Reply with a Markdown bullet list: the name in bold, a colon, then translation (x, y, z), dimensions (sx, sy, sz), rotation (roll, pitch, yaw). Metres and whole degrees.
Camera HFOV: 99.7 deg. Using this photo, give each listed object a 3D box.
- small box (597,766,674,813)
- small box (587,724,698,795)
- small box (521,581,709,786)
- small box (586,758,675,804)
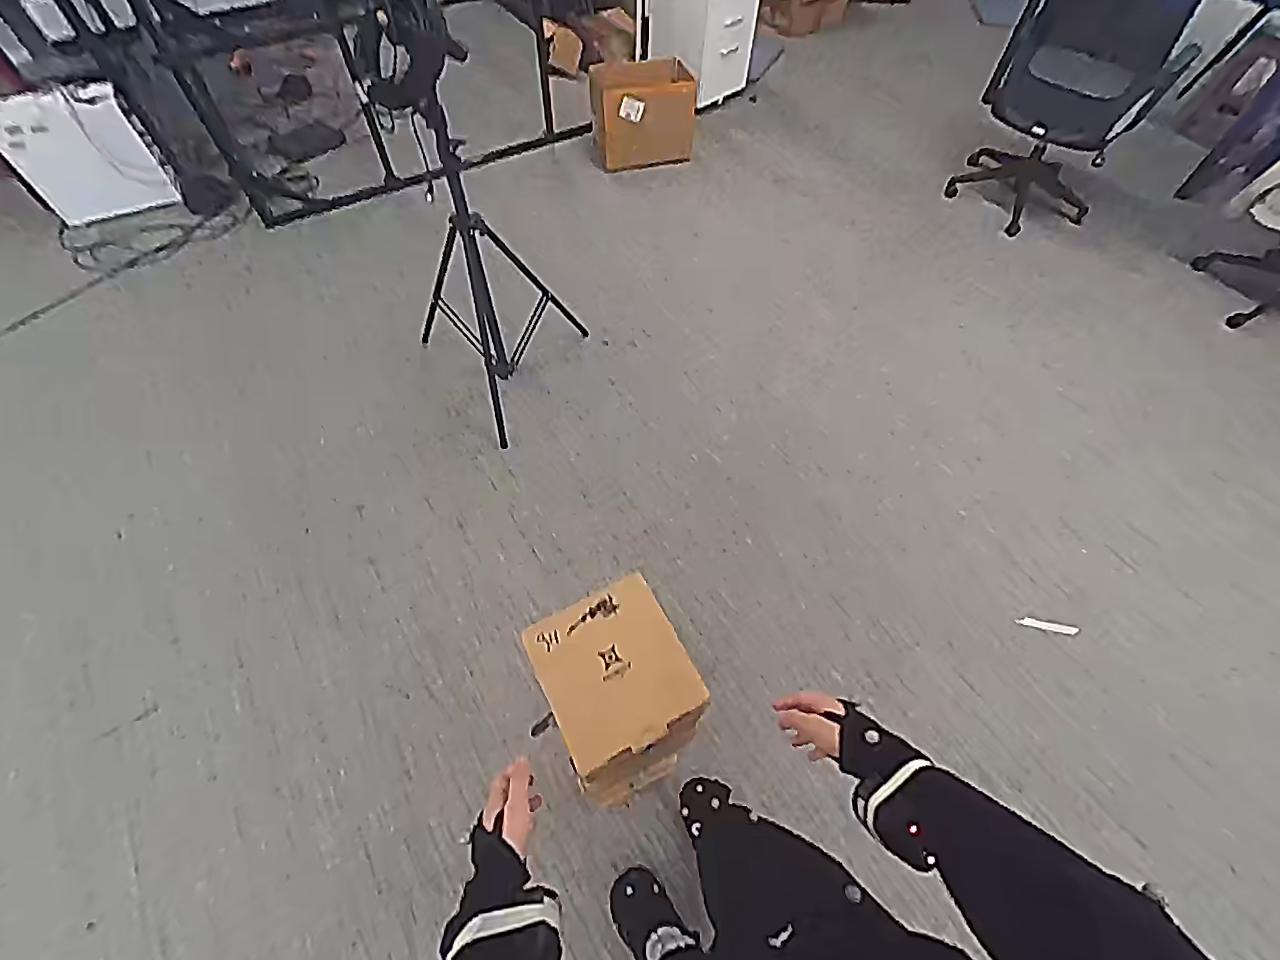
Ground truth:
- **small box**: translation (-0.040, 0.632, 1.234), dimensions (0.179, 0.176, 0.168), rotation (-23, 61, -14)
- **small box**: translation (-0.030, 0.357, 0.828), dimensions (0.168, 0.176, 0.179), rotation (-23, 62, -13)
- **small box**: translation (-0.032, 0.263, 0.693), dimensions (0.168, 0.176, 0.179), rotation (-25, 63, -15)
- **small box**: translation (-0.043, 0.539, 1.099), dimensions (0.179, 0.176, 0.168), rotation (-20, 61, -13)
